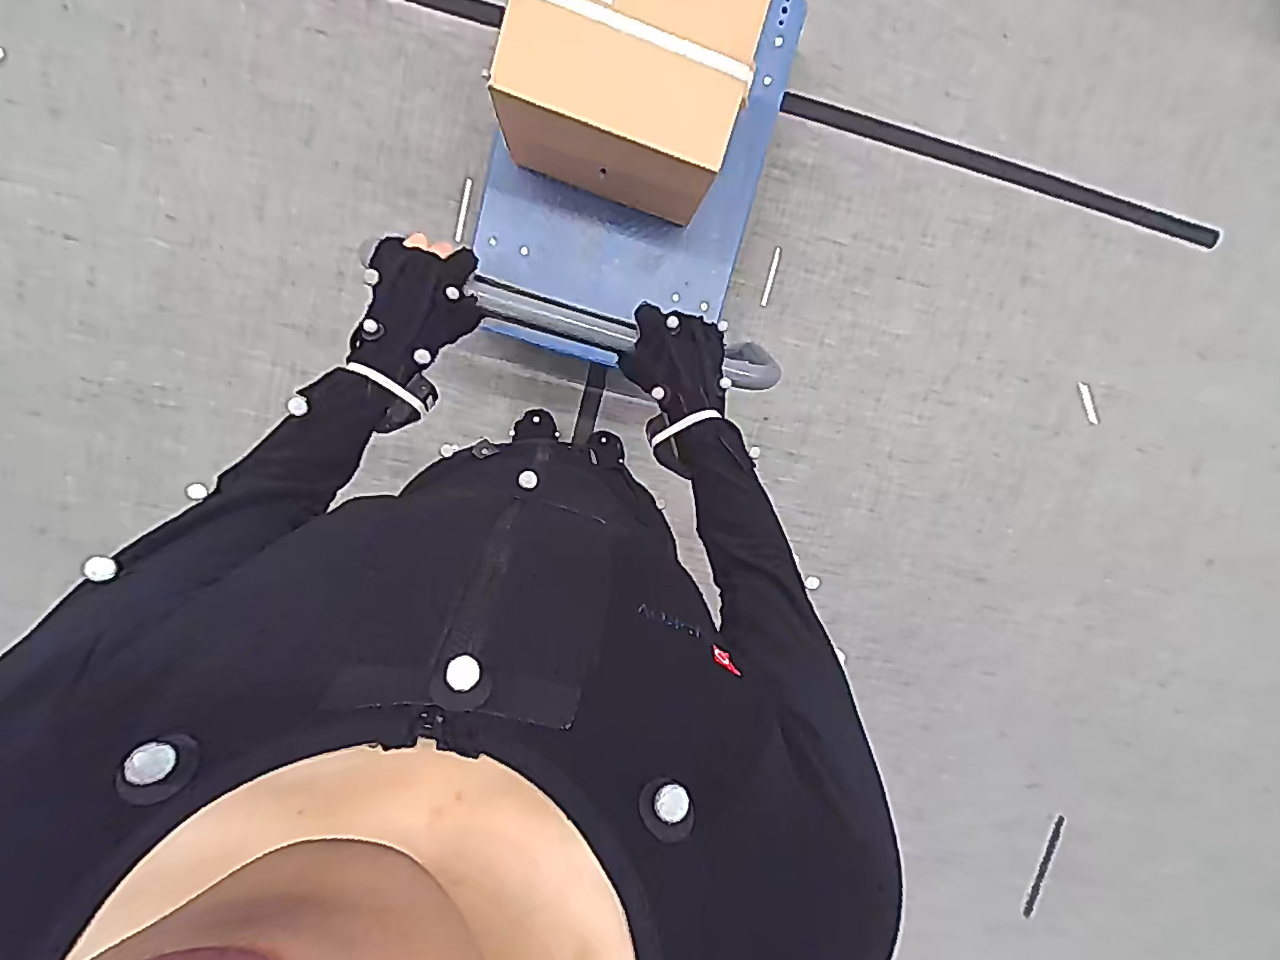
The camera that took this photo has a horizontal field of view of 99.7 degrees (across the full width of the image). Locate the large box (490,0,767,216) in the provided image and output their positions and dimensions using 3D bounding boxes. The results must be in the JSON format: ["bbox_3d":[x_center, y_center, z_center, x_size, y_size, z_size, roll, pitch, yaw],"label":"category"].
[{"bbox_3d":[-0.022,-0.758,1.026,0.408,0.320,0.320,17,98,-7],"label":"large box"}]

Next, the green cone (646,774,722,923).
[{"bbox_3d":[0.154,1.030,1.485,0.202,0.368,0.200,17,97,-9],"label":"green cone"}]
